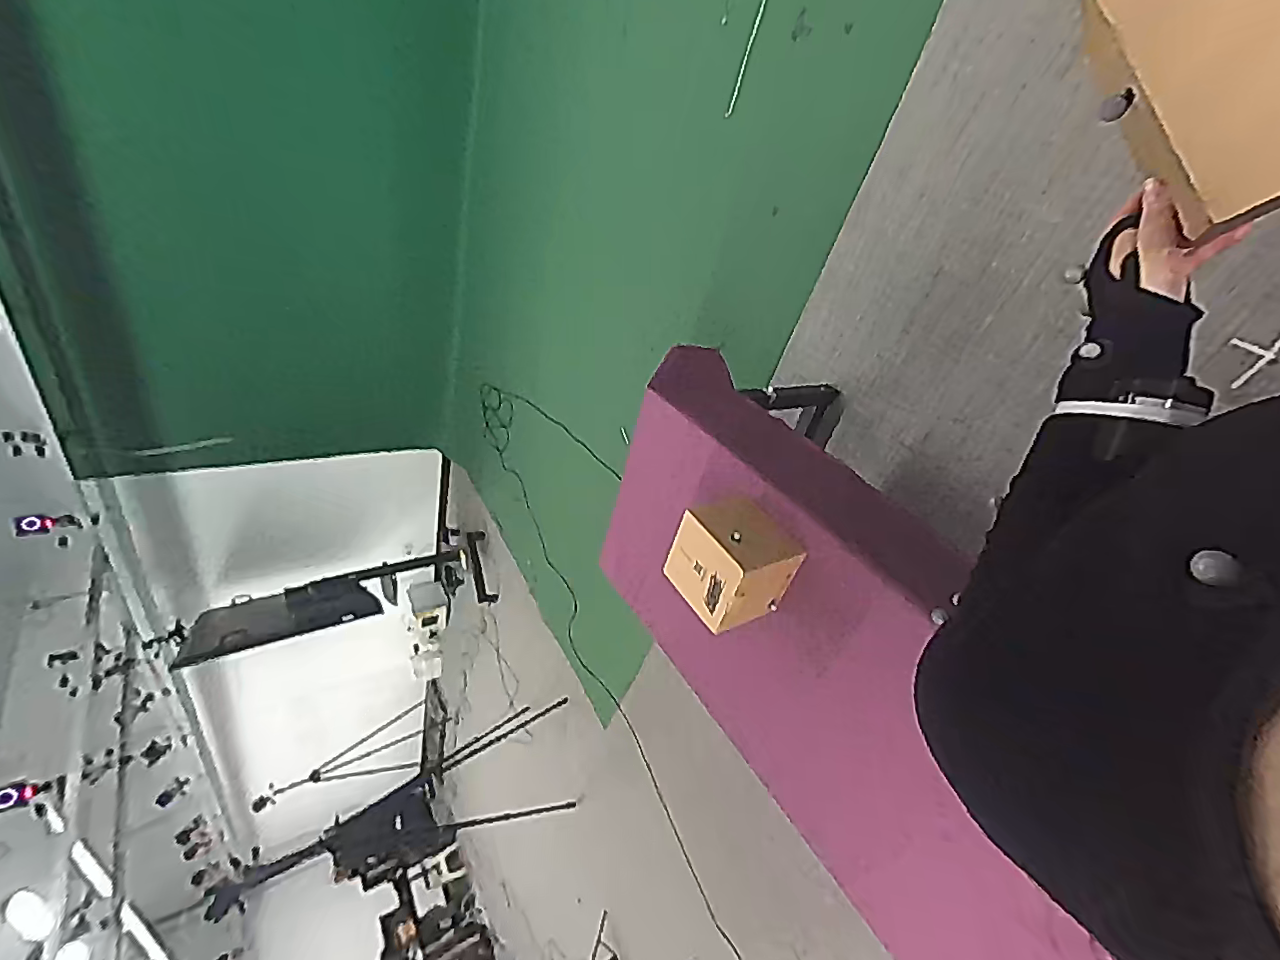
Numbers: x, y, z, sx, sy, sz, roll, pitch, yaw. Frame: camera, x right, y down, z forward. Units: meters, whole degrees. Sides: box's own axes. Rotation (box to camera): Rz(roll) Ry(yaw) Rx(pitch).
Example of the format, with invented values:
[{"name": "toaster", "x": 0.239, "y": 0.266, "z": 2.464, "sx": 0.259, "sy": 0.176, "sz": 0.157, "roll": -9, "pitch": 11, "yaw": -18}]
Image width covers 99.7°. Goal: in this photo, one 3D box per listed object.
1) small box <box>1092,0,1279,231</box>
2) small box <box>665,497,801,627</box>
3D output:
[{"name": "small box", "x": 0.392, "y": -0.274, "z": 0.313, "sx": 0.168, "sy": 0.176, "sz": 0.179, "roll": -25, "pitch": 87, "yaw": 42}, {"name": "small box", "x": 0.181, "y": 0.150, "z": 1.059, "sx": 0.179, "sy": 0.176, "sz": 0.168, "roll": 48, "pitch": 134, "yaw": 38}]
